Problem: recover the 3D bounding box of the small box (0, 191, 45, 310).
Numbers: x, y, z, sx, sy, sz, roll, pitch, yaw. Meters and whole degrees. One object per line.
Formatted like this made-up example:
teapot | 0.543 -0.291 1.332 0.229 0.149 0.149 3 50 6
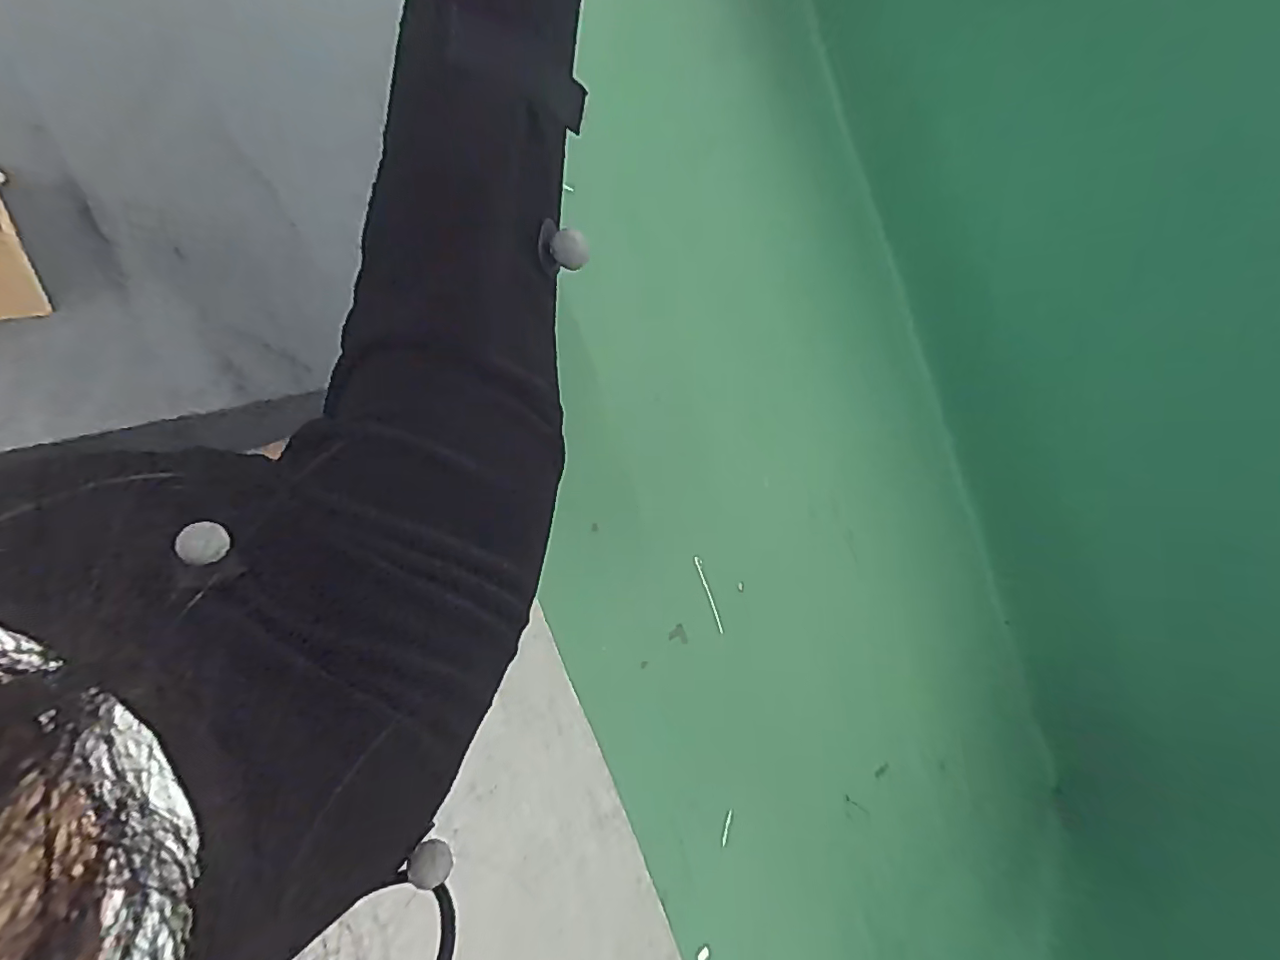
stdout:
small box | -0.668 -0.249 0.460 0.168 0.176 0.179 -25 95 -39
